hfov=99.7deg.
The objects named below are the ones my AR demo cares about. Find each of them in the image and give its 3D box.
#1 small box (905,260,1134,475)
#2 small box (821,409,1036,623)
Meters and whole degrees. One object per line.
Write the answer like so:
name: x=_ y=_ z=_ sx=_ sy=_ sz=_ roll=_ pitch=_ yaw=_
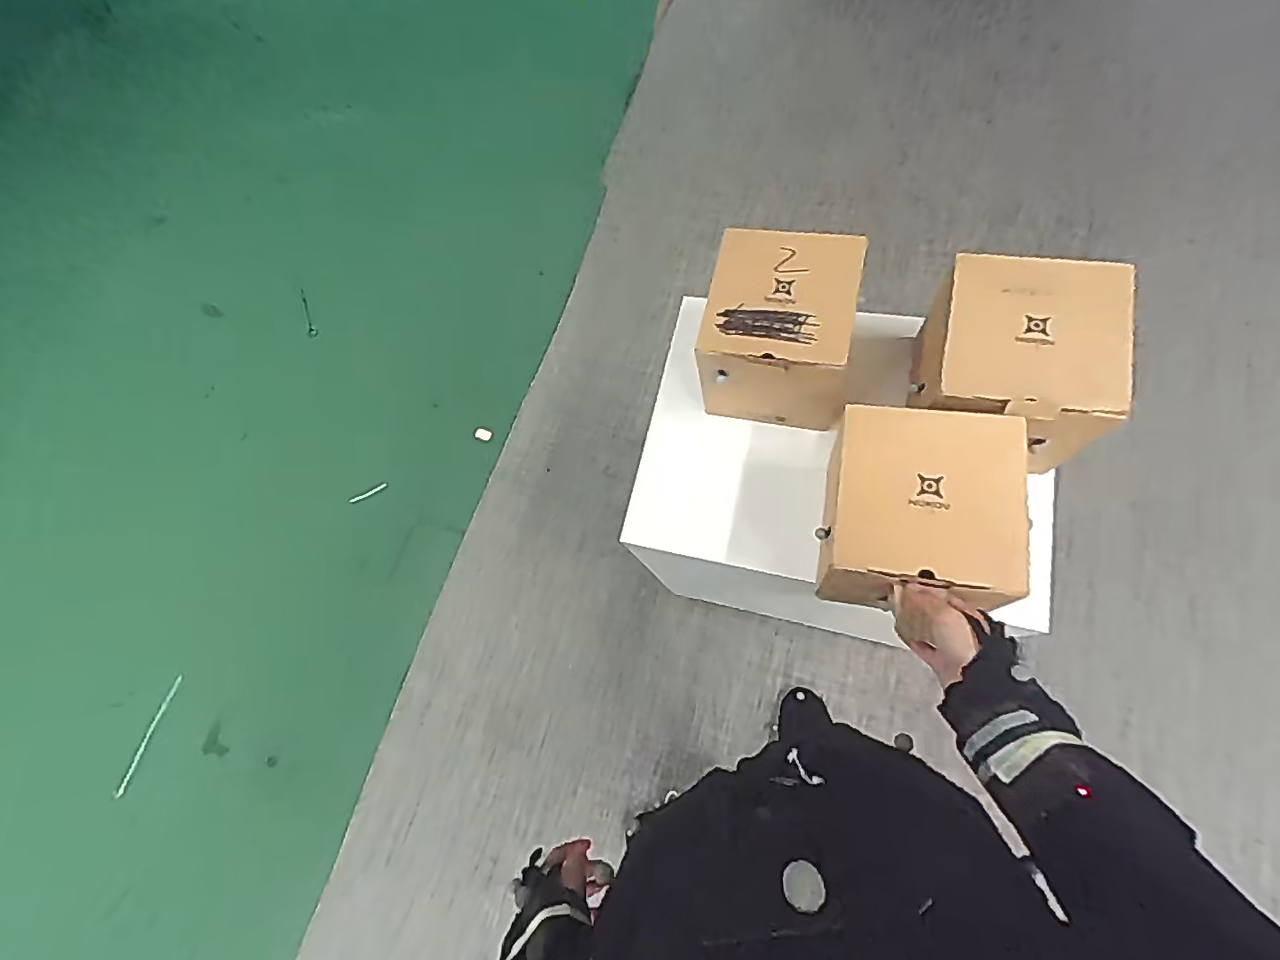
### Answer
small box: x=0.416 y=-0.120 z=0.620 sx=0.168 sy=0.176 sz=0.179 roll=11 pitch=73 yaw=14
small box: x=0.293 y=0.044 z=0.582 sx=0.168 sy=0.176 sz=0.179 roll=6 pitch=70 yaw=16
